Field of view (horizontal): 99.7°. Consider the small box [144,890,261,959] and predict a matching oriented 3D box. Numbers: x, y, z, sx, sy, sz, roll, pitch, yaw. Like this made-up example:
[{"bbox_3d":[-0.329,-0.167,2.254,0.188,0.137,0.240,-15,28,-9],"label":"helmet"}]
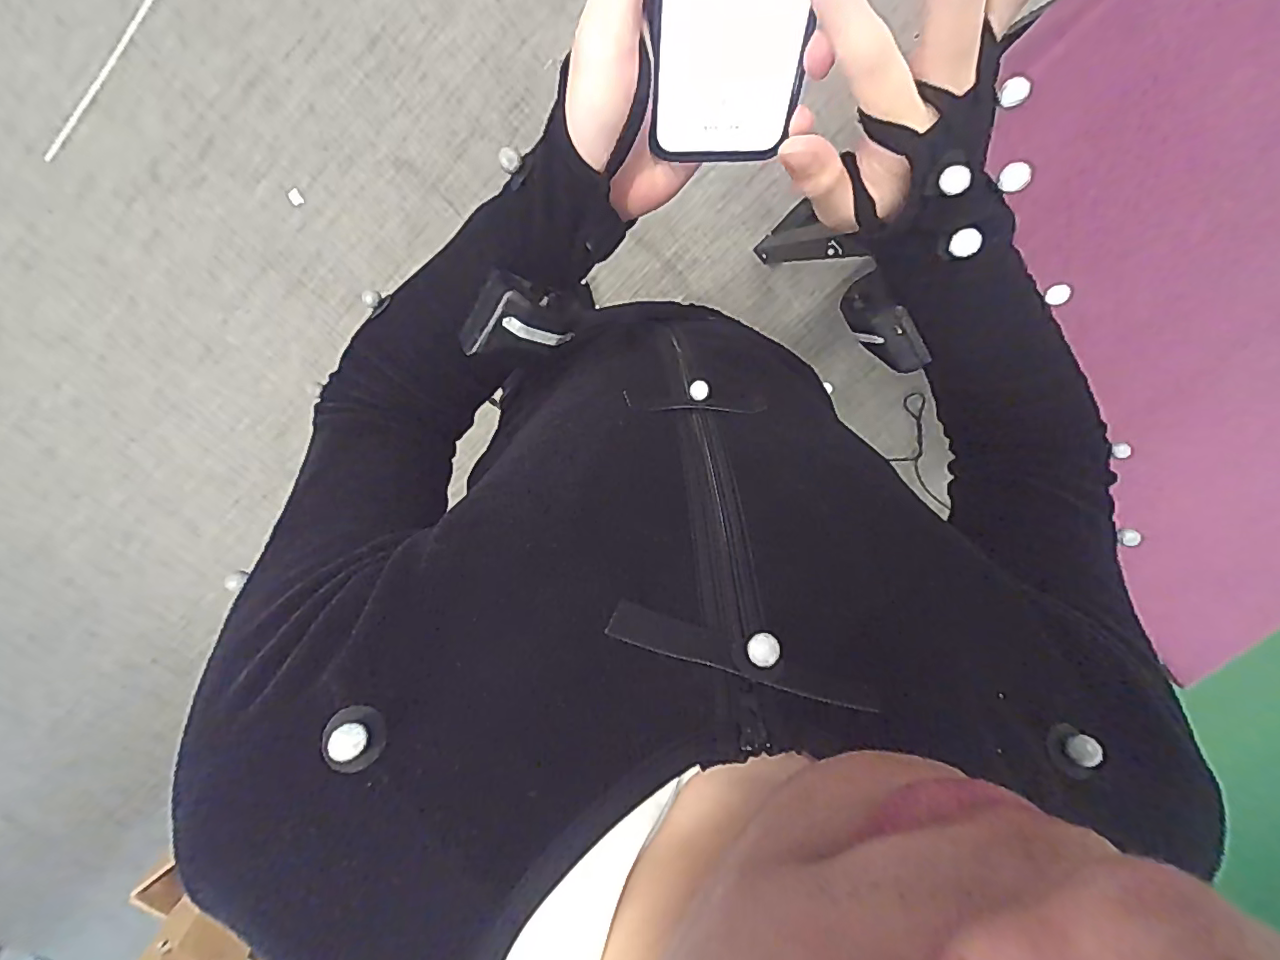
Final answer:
[{"bbox_3d":[-1.055,1.131,1.288,0.179,0.176,0.168,-36,108,9],"label":"small box"}]
